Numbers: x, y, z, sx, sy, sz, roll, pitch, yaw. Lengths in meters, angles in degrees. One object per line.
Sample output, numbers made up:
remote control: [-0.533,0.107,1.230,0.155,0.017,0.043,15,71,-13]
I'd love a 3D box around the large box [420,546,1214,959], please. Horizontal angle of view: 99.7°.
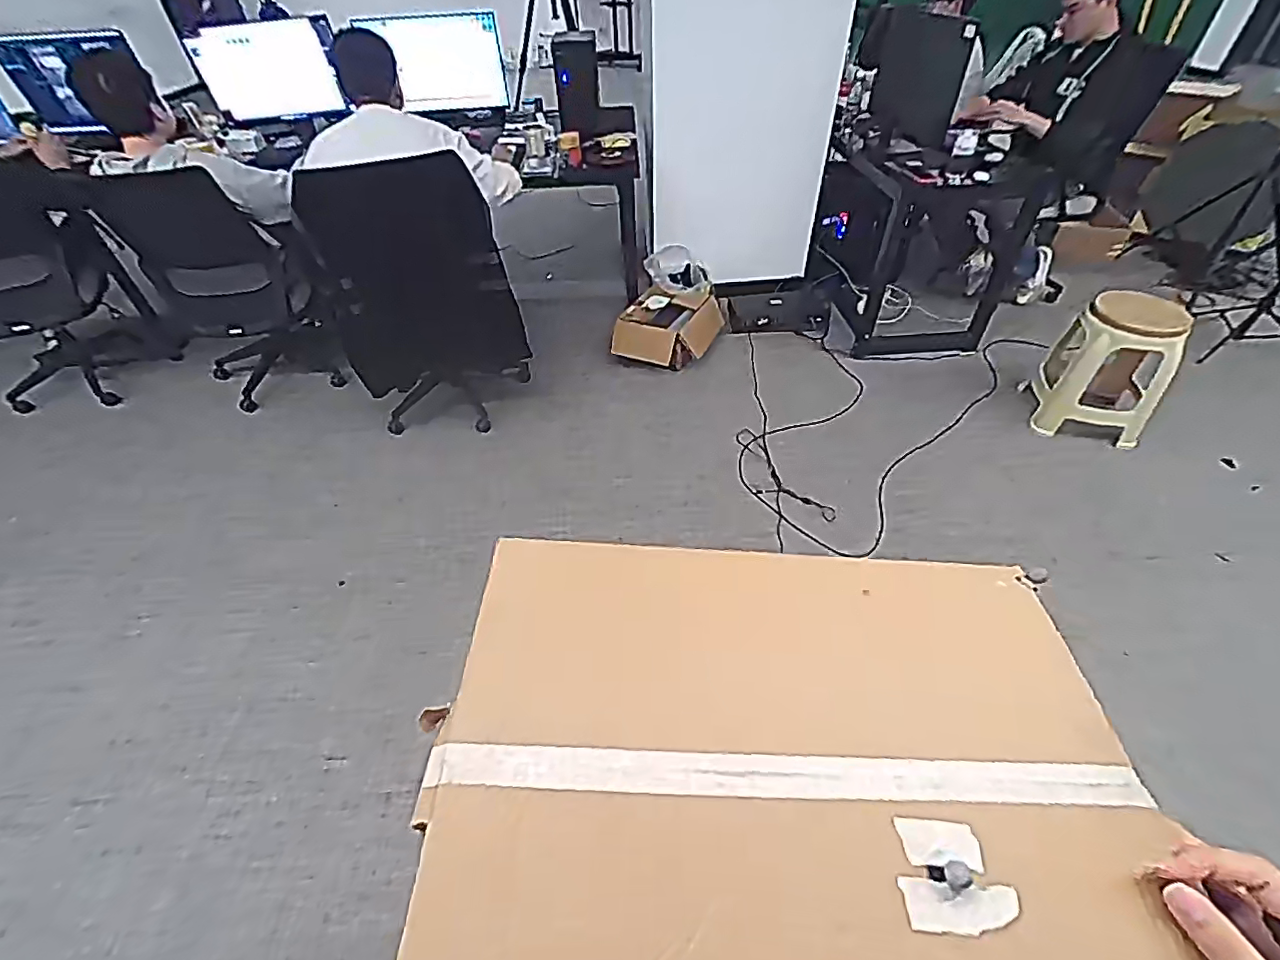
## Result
large box: [0.079,0.275,0.427,0.408,0.320,0.320,4,47,-3]
